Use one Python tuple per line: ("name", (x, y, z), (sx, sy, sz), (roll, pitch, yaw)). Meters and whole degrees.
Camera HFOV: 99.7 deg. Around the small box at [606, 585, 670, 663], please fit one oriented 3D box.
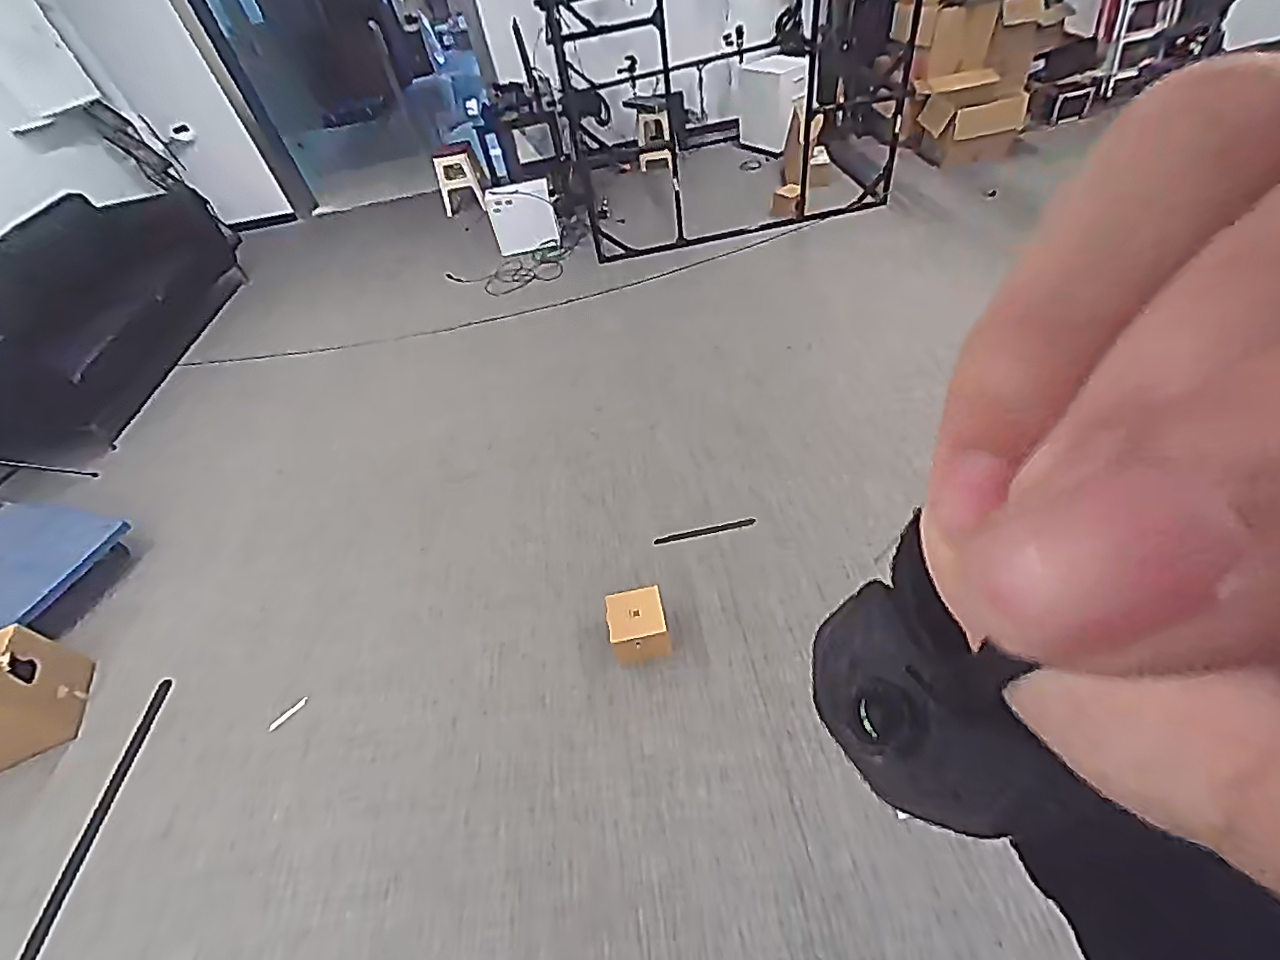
("small box", (-0.003, 0.466, 1.735), (0.179, 0.176, 0.168), (-13, 47, 1))
